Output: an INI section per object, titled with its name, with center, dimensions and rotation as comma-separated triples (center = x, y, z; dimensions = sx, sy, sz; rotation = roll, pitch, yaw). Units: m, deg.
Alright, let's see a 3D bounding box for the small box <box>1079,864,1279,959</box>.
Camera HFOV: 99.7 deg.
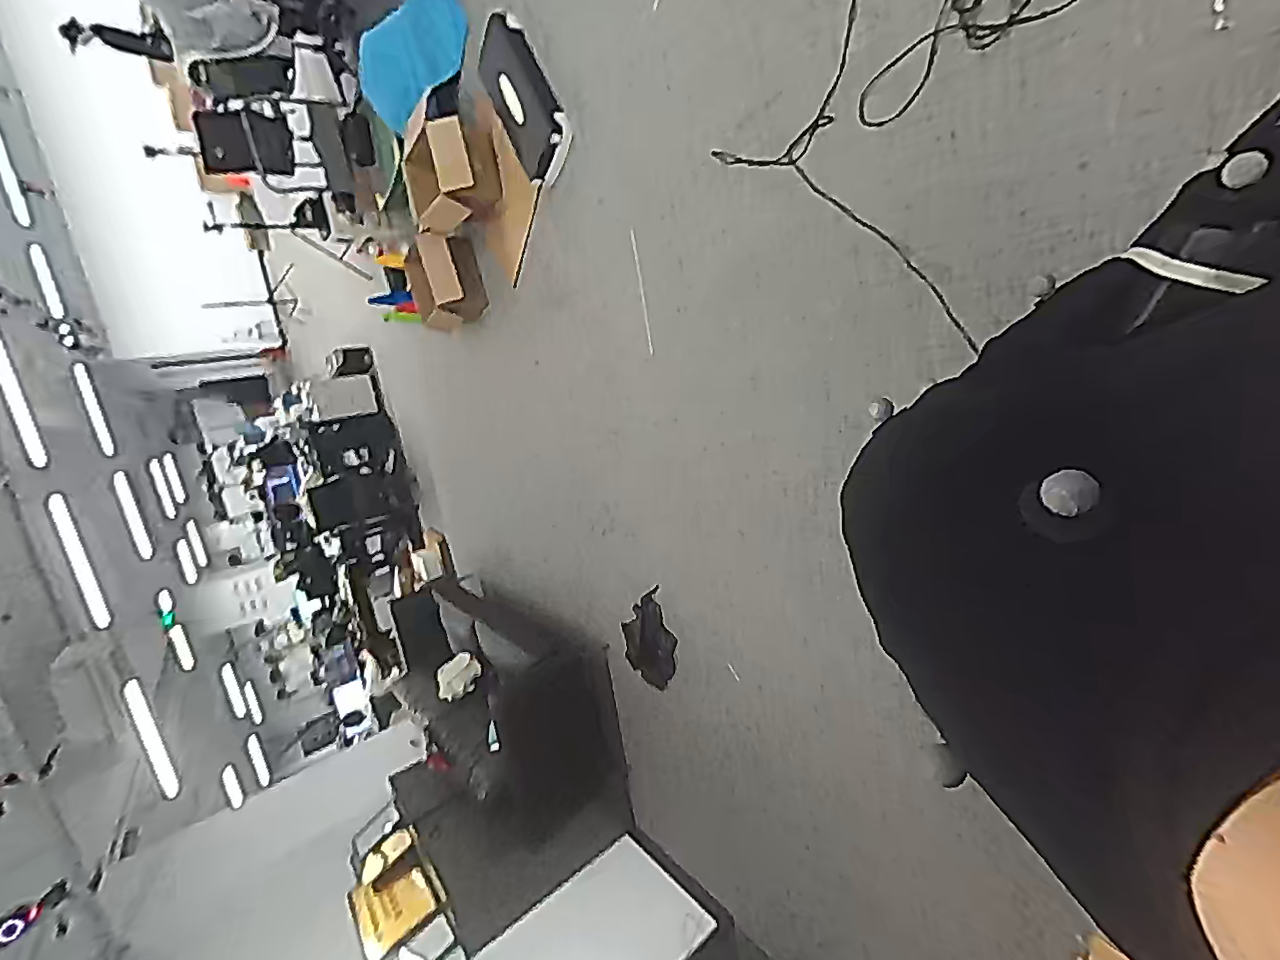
[small box]
center = 0.743, 0.682, 0.748
dimensions = 0.179, 0.176, 0.168
rotation = 23, 124, 47
